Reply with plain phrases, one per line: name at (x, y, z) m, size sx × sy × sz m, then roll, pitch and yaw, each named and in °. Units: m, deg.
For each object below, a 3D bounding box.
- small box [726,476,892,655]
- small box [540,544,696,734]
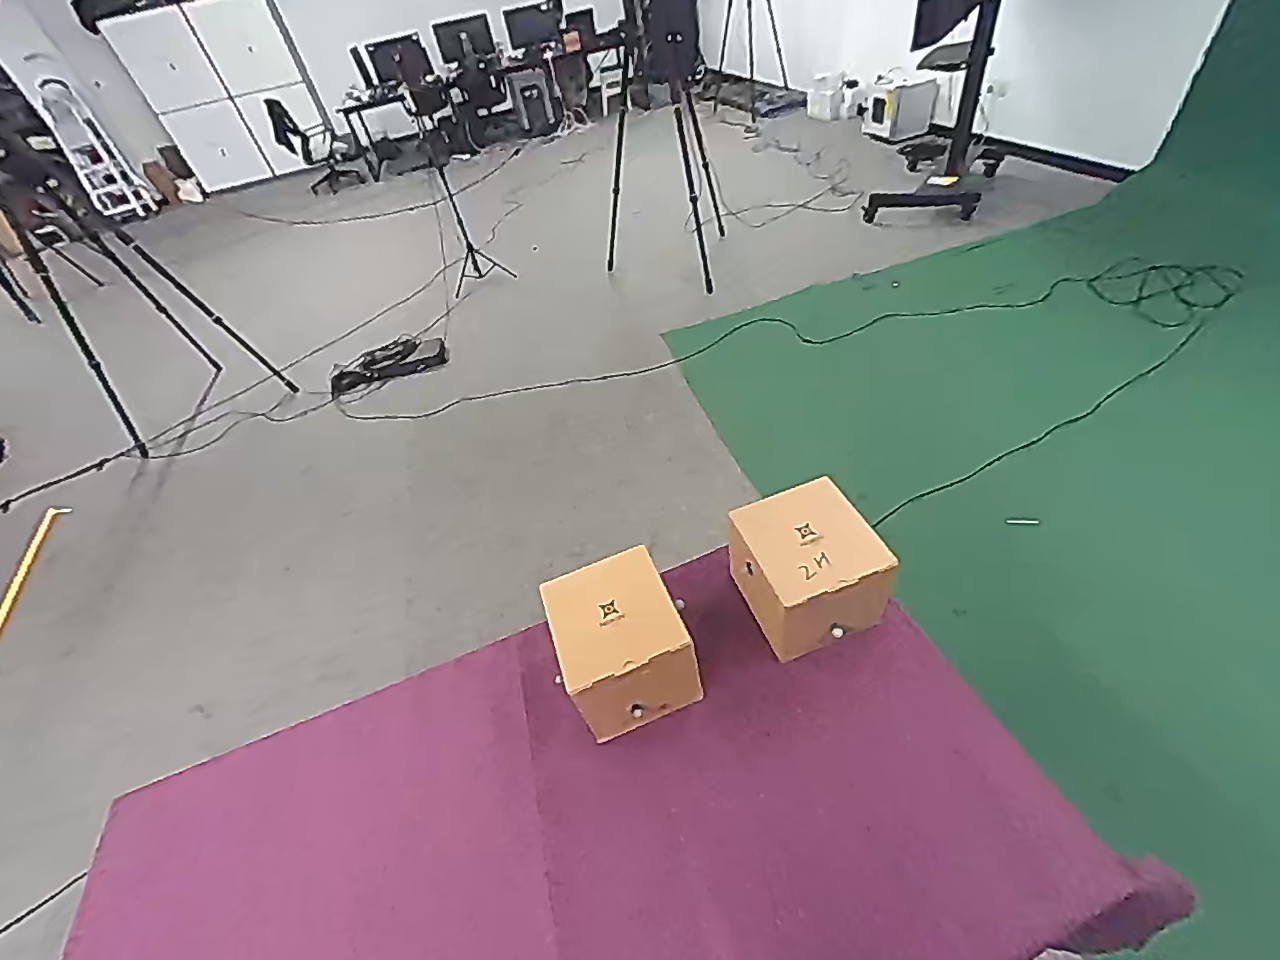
small box at (0.240, 0.129, 0.810) m, size 0.168 × 0.176 × 0.179 m, roll -20°, pitch 48°, yaw -5°
small box at (-0.030, 0.230, 0.783) m, size 0.168 × 0.176 × 0.179 m, roll -21°, pitch 46°, yaw -7°
